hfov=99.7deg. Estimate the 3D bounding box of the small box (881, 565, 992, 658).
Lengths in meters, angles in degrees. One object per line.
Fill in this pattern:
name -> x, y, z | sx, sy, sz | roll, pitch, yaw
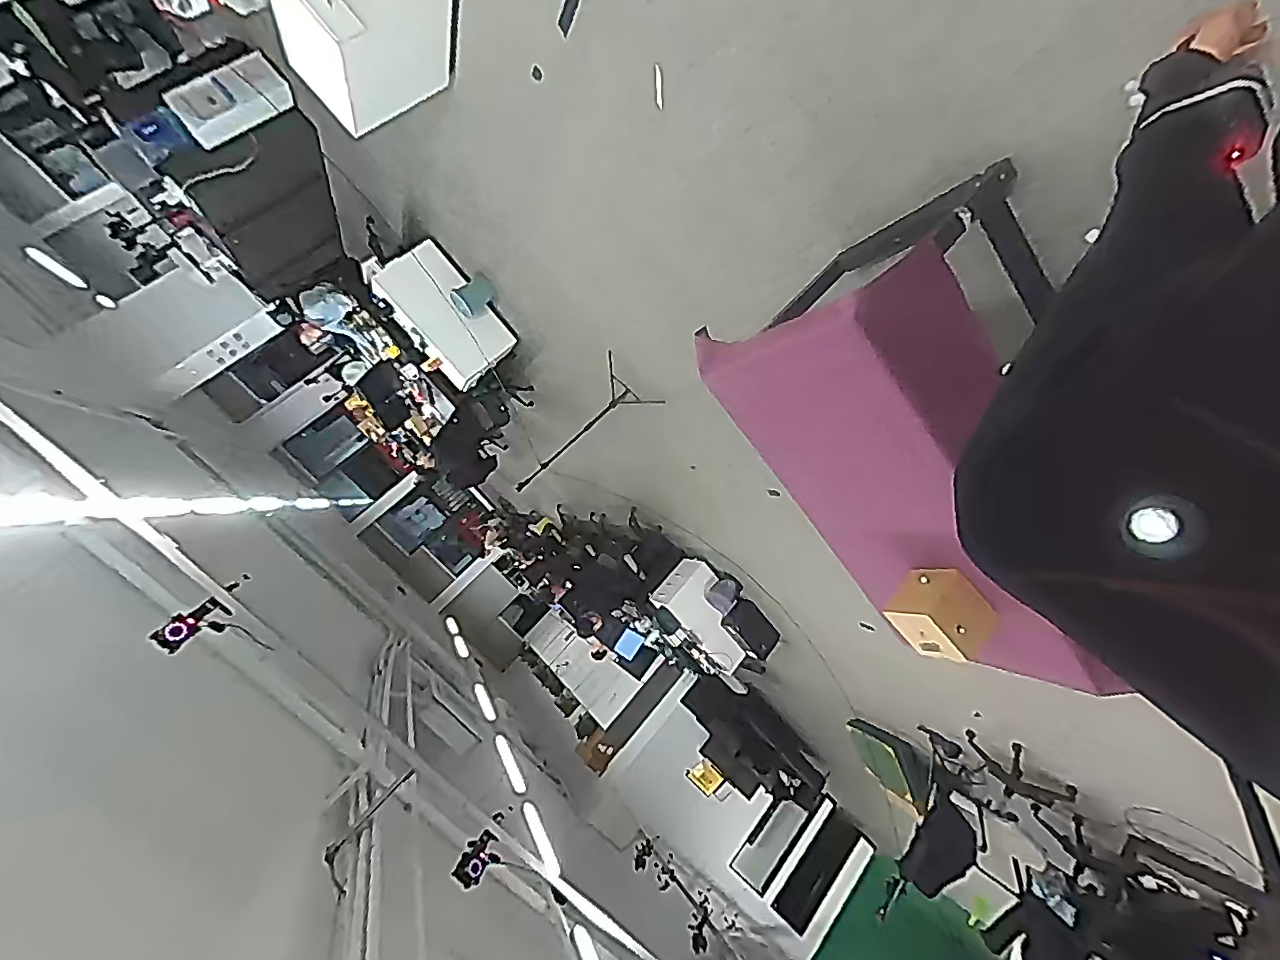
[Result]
small box -> 0.813, 0.355, 1.481 | 0.179, 0.176, 0.168 | 47, 161, -5
